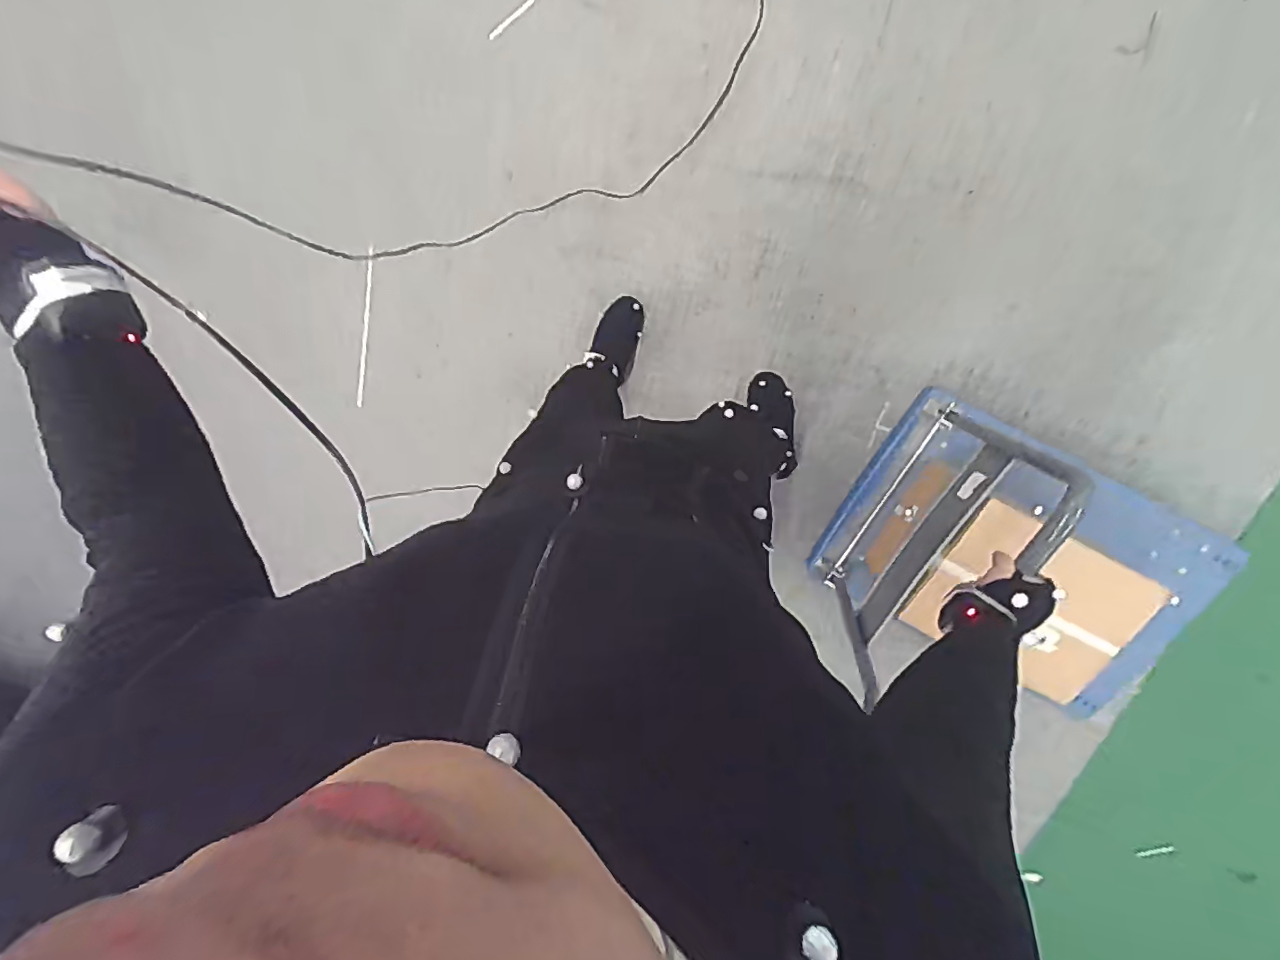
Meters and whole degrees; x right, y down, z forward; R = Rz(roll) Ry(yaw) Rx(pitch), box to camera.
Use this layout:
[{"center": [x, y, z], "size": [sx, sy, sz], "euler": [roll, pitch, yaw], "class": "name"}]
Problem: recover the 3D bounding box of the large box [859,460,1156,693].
[{"center": [0.795, 0.200, 1.248], "size": [0.408, 0.320, 0.320], "euler": [27, 109, 0], "class": "large box"}]
